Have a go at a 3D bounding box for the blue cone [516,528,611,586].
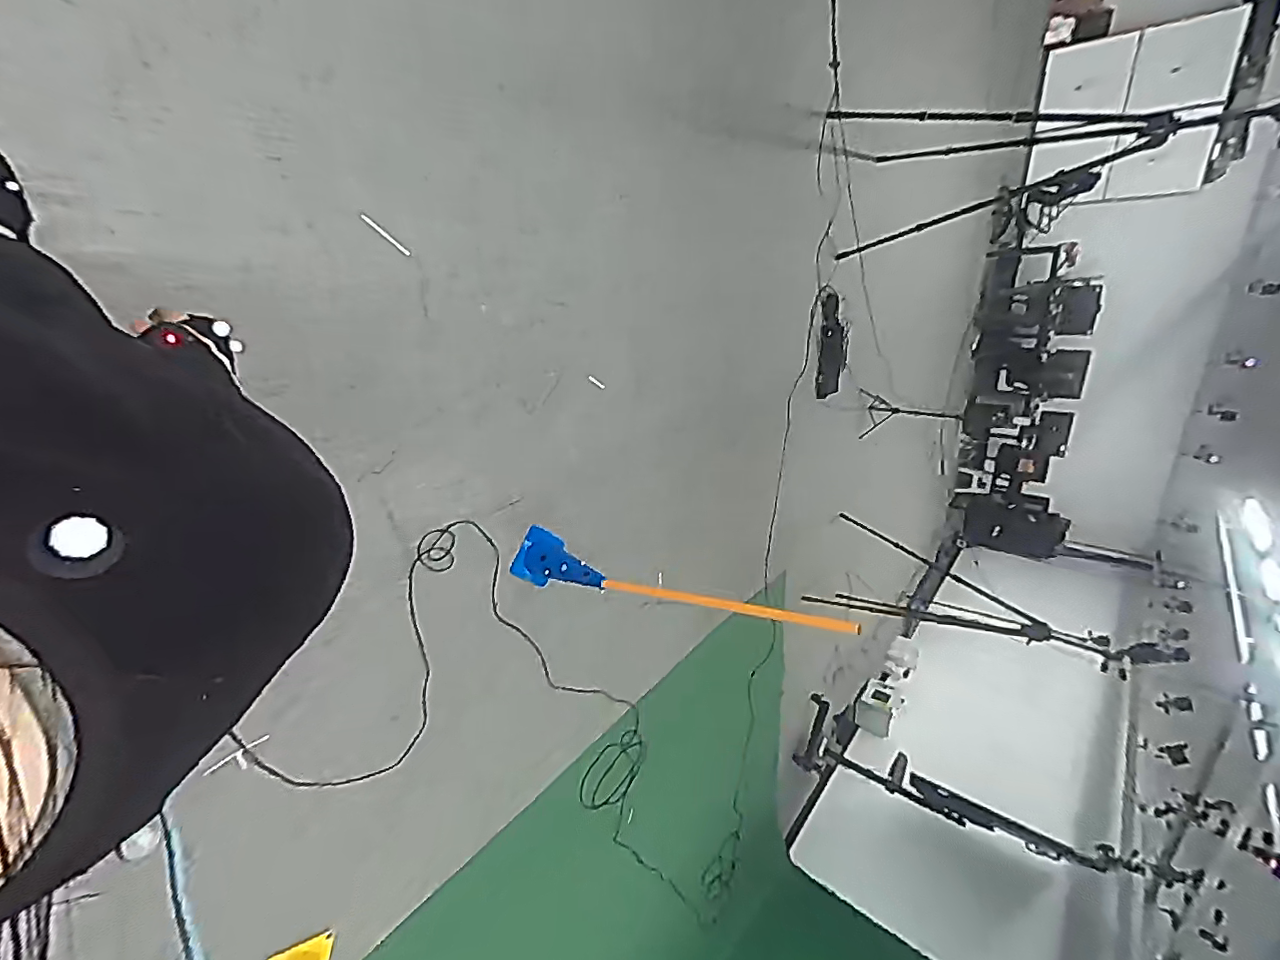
[{"bbox_3d":[-0.255,0.313,1.942,0.192,0.380,0.193,37,70,-48],"label":"blue cone"}]
